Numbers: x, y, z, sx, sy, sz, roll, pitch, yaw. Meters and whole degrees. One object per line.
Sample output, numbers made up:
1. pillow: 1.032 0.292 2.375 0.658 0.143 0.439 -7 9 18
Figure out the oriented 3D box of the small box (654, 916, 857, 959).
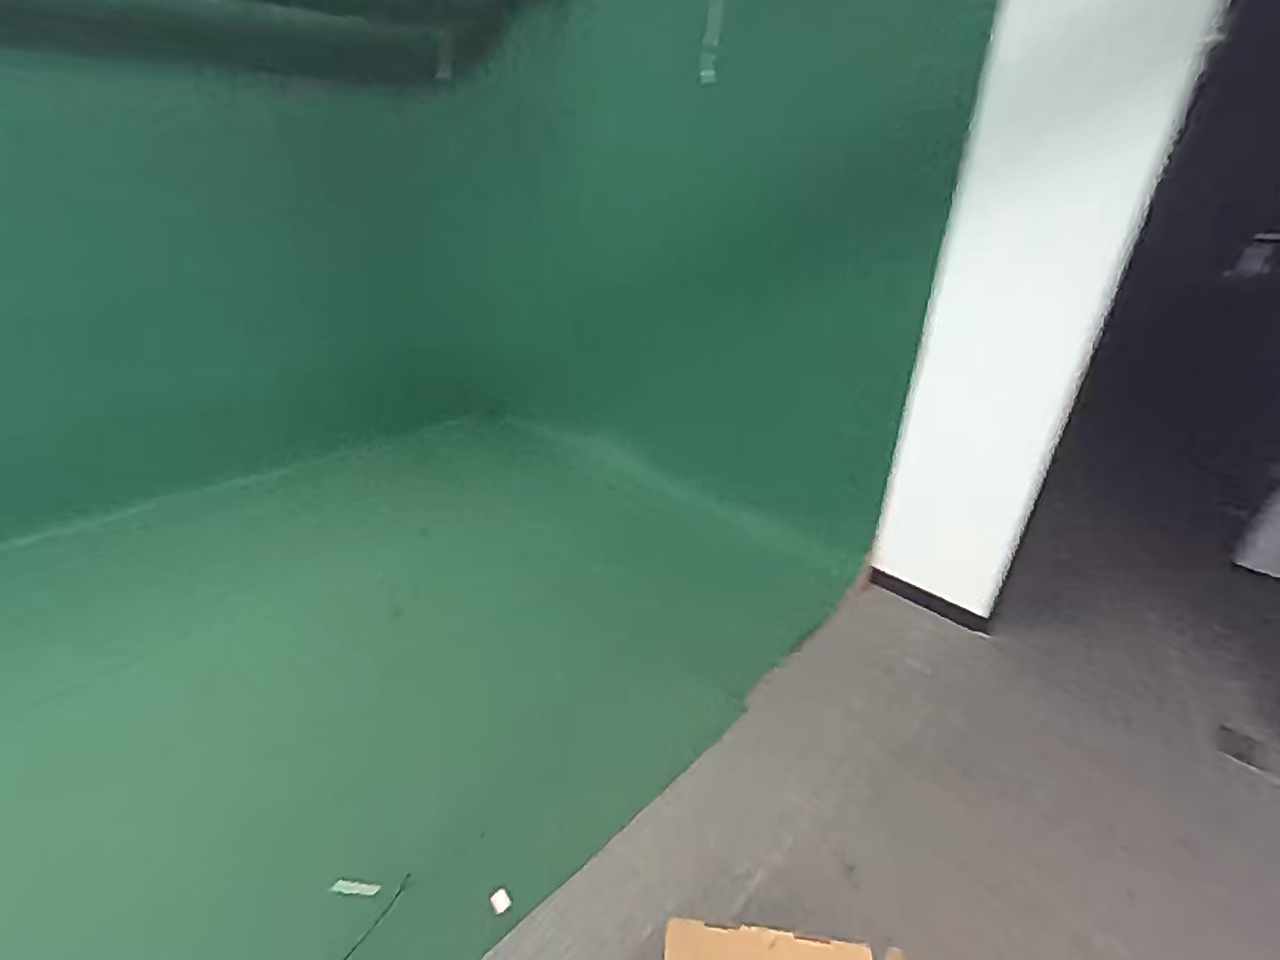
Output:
1. small box: 0.088 0.492 0.438 0.168 0.176 0.179 3 39 5
